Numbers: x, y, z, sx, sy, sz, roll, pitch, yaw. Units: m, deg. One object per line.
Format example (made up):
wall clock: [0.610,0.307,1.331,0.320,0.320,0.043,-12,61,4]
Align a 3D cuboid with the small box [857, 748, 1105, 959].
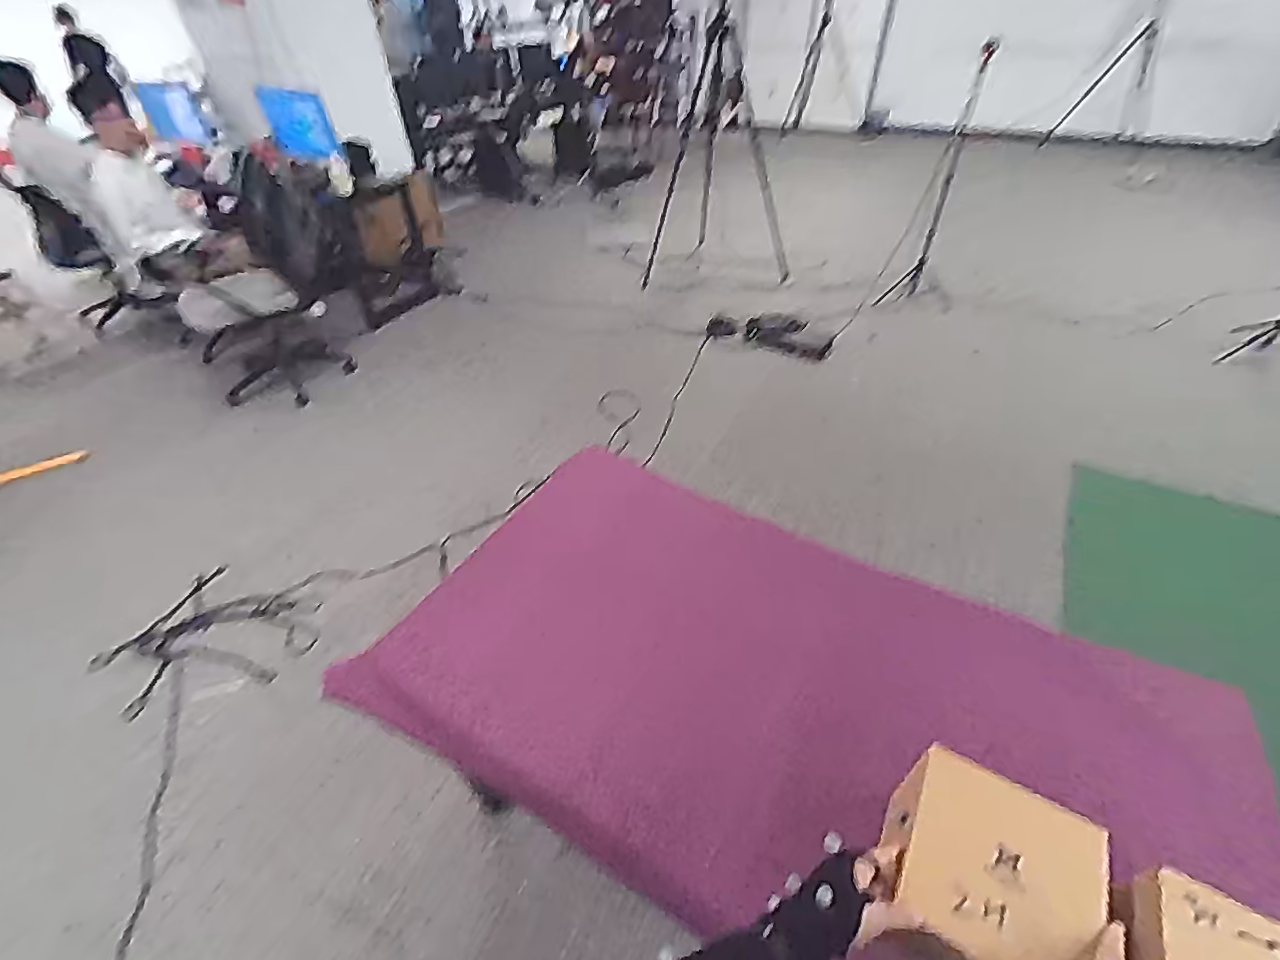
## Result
small box: [0.347,0.433,0.570,0.168,0.176,0.179,22,49,25]
